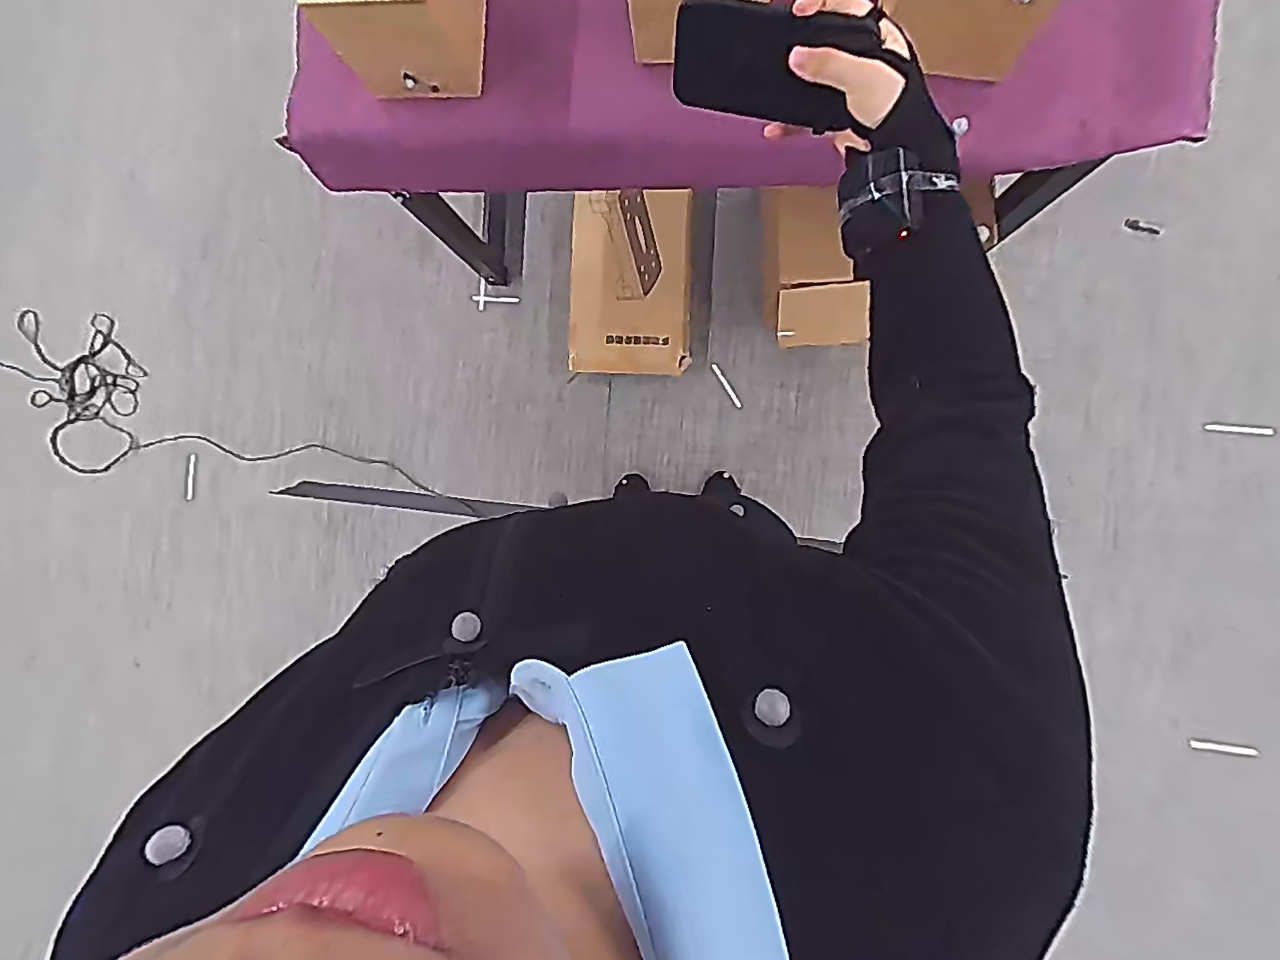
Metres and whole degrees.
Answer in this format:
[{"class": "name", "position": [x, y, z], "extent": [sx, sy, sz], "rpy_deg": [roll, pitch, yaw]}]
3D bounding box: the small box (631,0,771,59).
[{"class": "small box", "position": [0.080, -0.661, 0.665], "extent": [0.179, 0.176, 0.168], "rpy_deg": [3, 89, 6]}]

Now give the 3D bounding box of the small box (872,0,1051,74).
[{"class": "small box", "position": [0.394, -0.621, 0.635], "extent": [0.179, 0.176, 0.168], "rpy_deg": [10, 92, 5]}]
